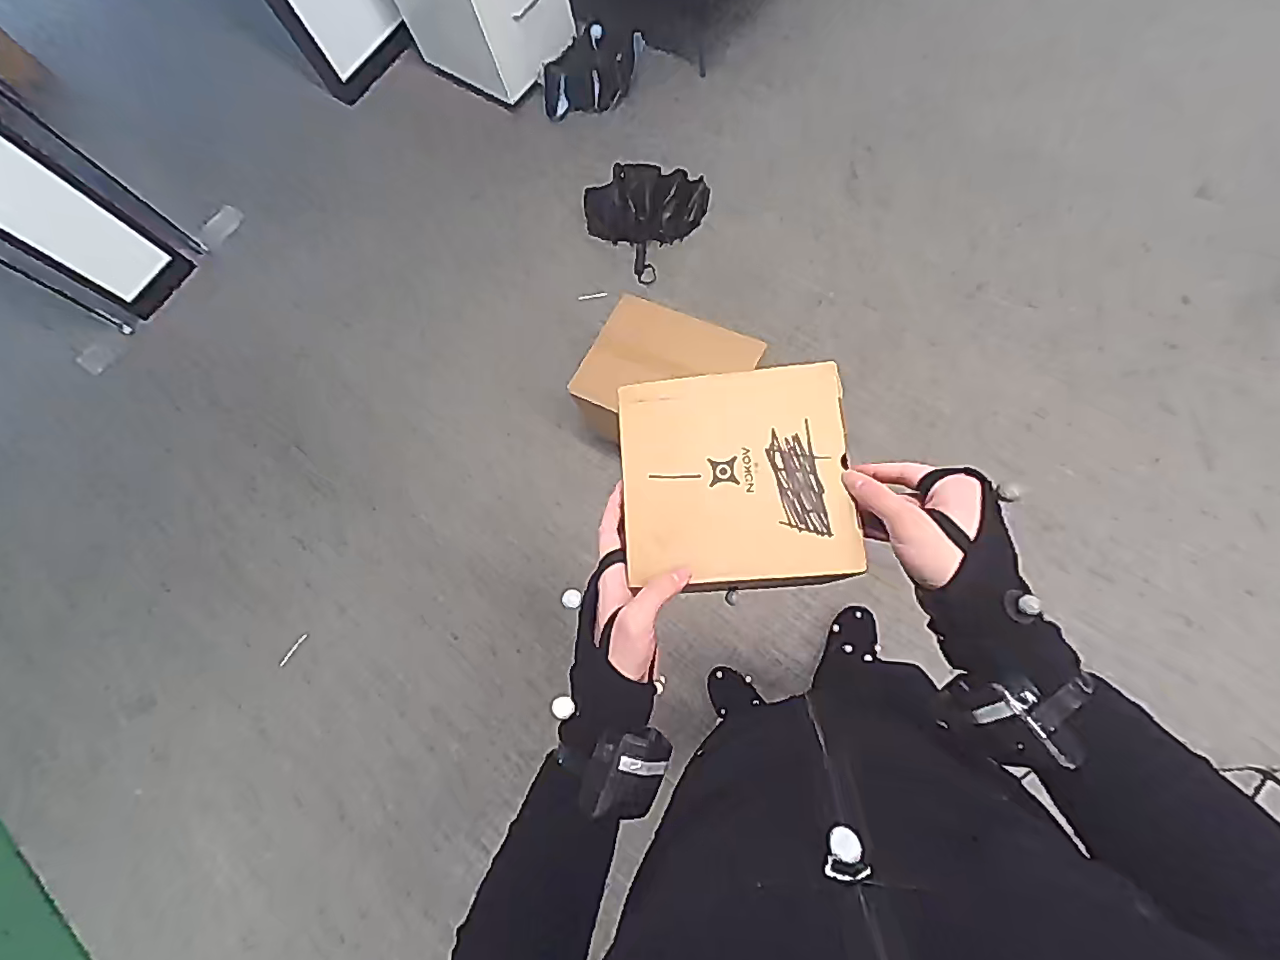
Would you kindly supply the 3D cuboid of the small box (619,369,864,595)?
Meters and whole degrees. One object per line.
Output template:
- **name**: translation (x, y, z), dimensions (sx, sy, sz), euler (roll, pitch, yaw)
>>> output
- **small box**: translation (0.082, 0.016, 0.492), dimensions (0.179, 0.176, 0.168), euler (-5, 75, 7)
